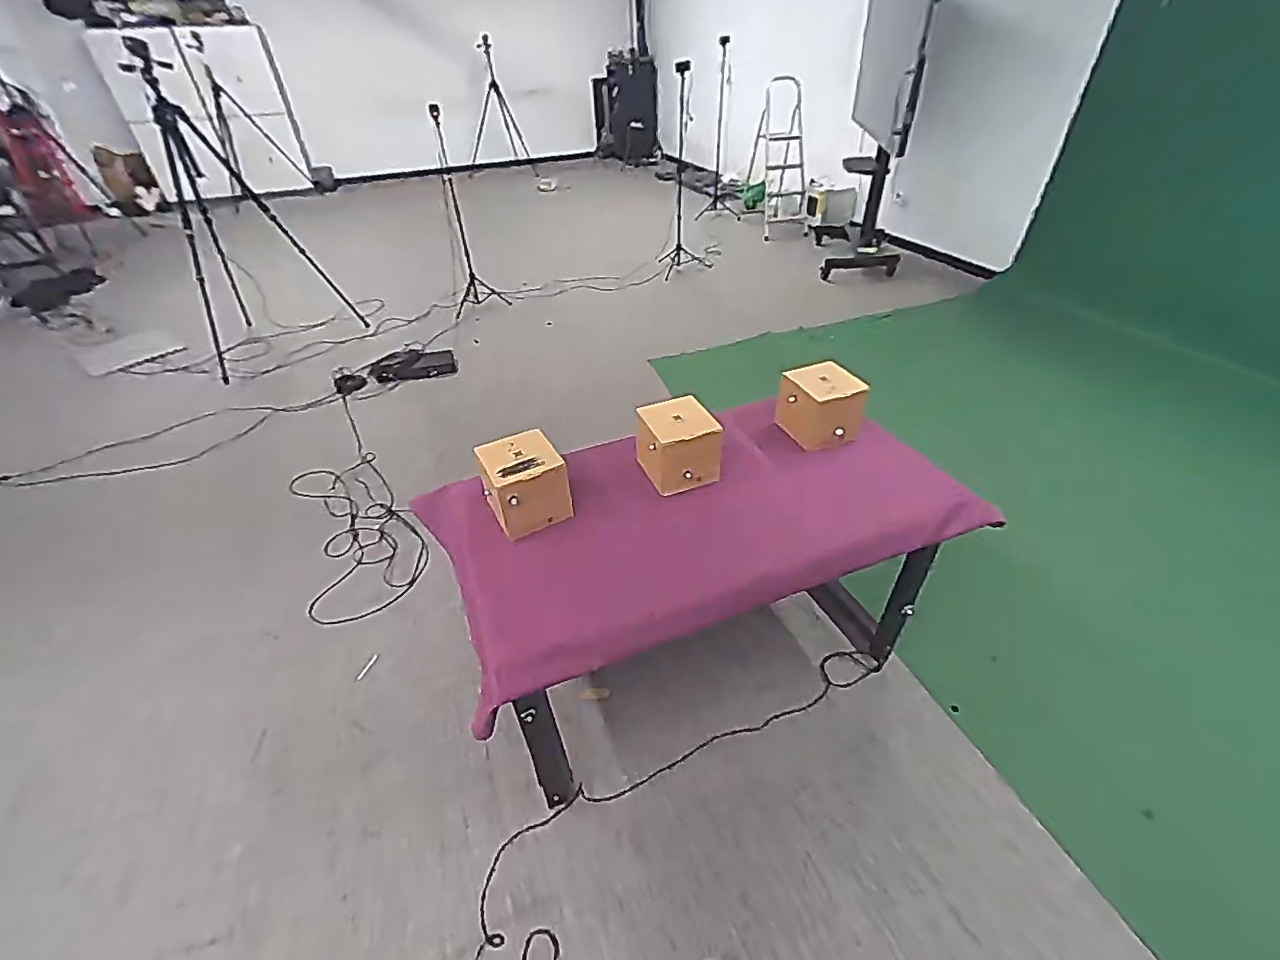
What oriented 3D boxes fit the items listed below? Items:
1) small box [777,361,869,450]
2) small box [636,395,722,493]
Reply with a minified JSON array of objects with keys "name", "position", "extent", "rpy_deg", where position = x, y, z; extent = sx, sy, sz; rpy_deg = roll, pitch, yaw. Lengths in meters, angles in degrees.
[{"name":"small box","position":[0.503,-0.210,1.521],"extent":[0.168,0.176,0.179],"rpy_deg":[-16,43,-15]},{"name":"small box","position":[0.095,-0.094,1.403],"extent":[0.168,0.176,0.179],"rpy_deg":[-16,43,-16]}]
